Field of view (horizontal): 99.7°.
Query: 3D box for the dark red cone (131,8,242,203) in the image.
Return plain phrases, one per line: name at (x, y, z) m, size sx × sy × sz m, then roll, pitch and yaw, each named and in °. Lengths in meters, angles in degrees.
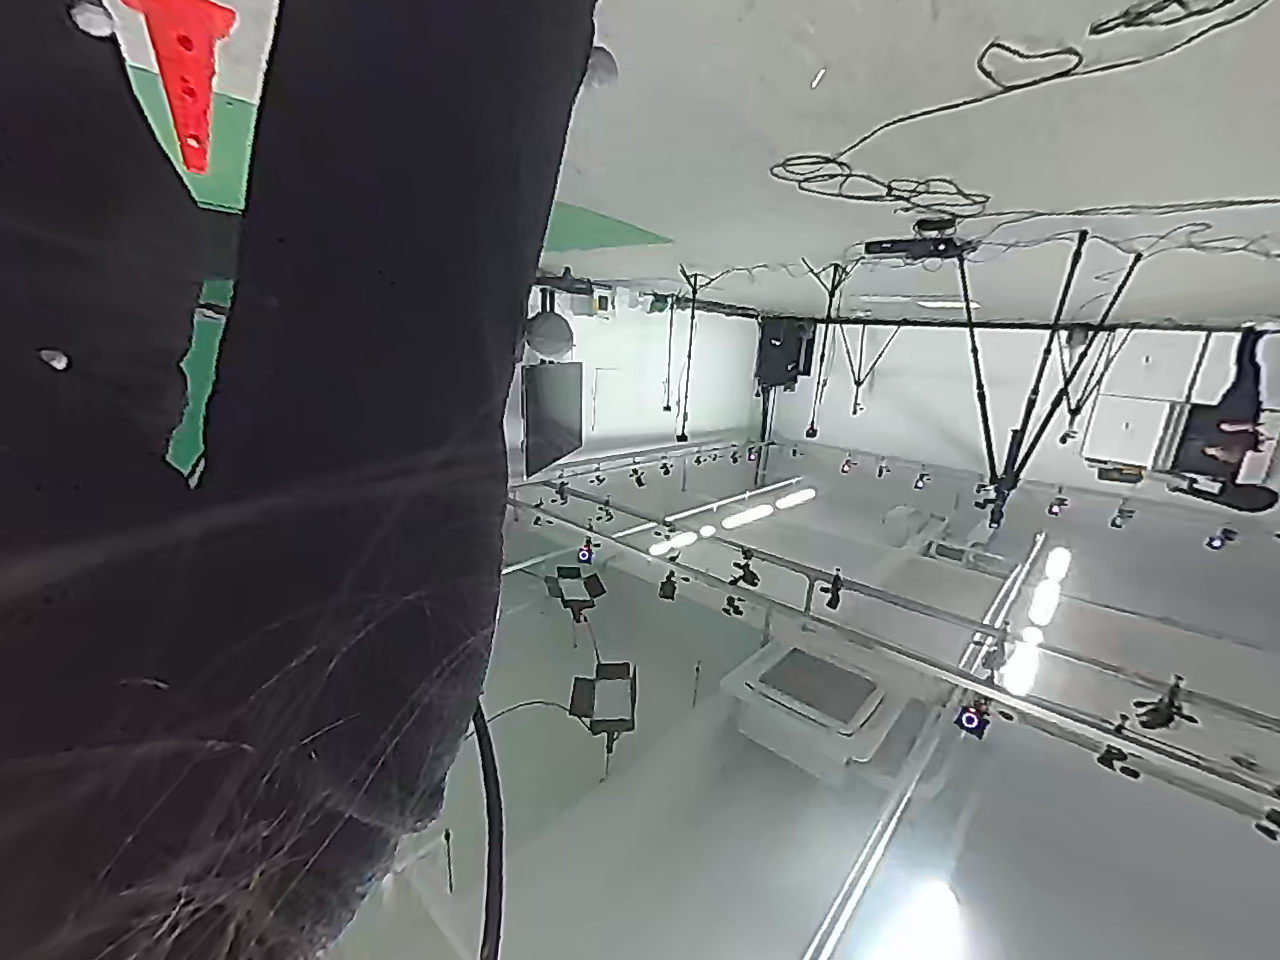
dark red cone at (-1.094, -0.903, 1.334) m, size 0.202 × 0.394 × 0.201 m, roll -9°, pitch -159°, yaw -41°
